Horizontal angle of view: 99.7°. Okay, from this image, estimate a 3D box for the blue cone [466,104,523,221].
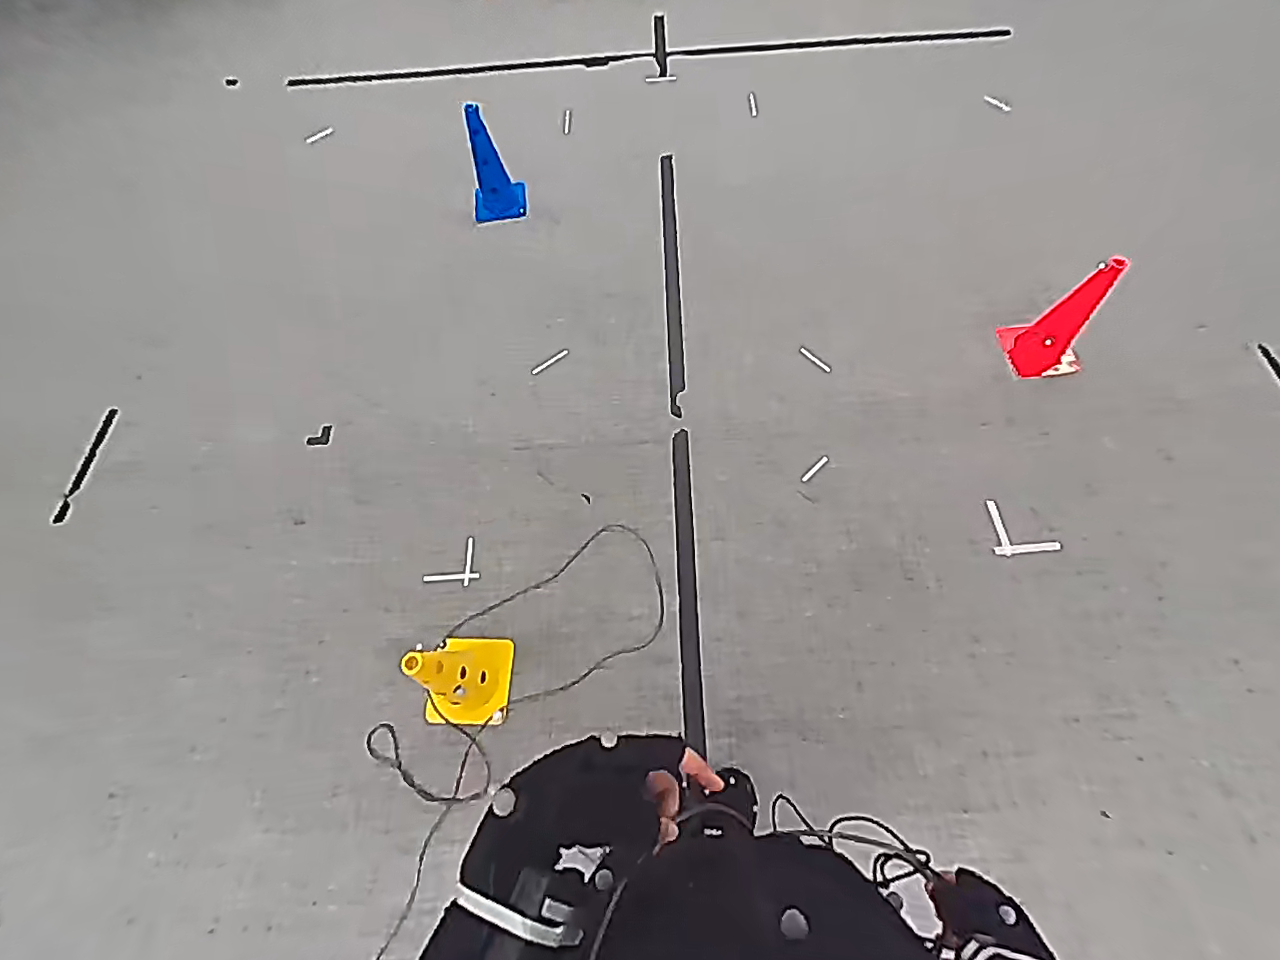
[{"bbox_3d":[-0.562,-1.154,1.959,0.192,0.380,0.193,-7,64,0],"label":"blue cone"}]

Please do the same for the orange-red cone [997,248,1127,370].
[{"bbox_3d":[1.237,-0.505,1.543,0.198,0.360,0.199,-7,63,0],"label":"orange-red cone"}]
